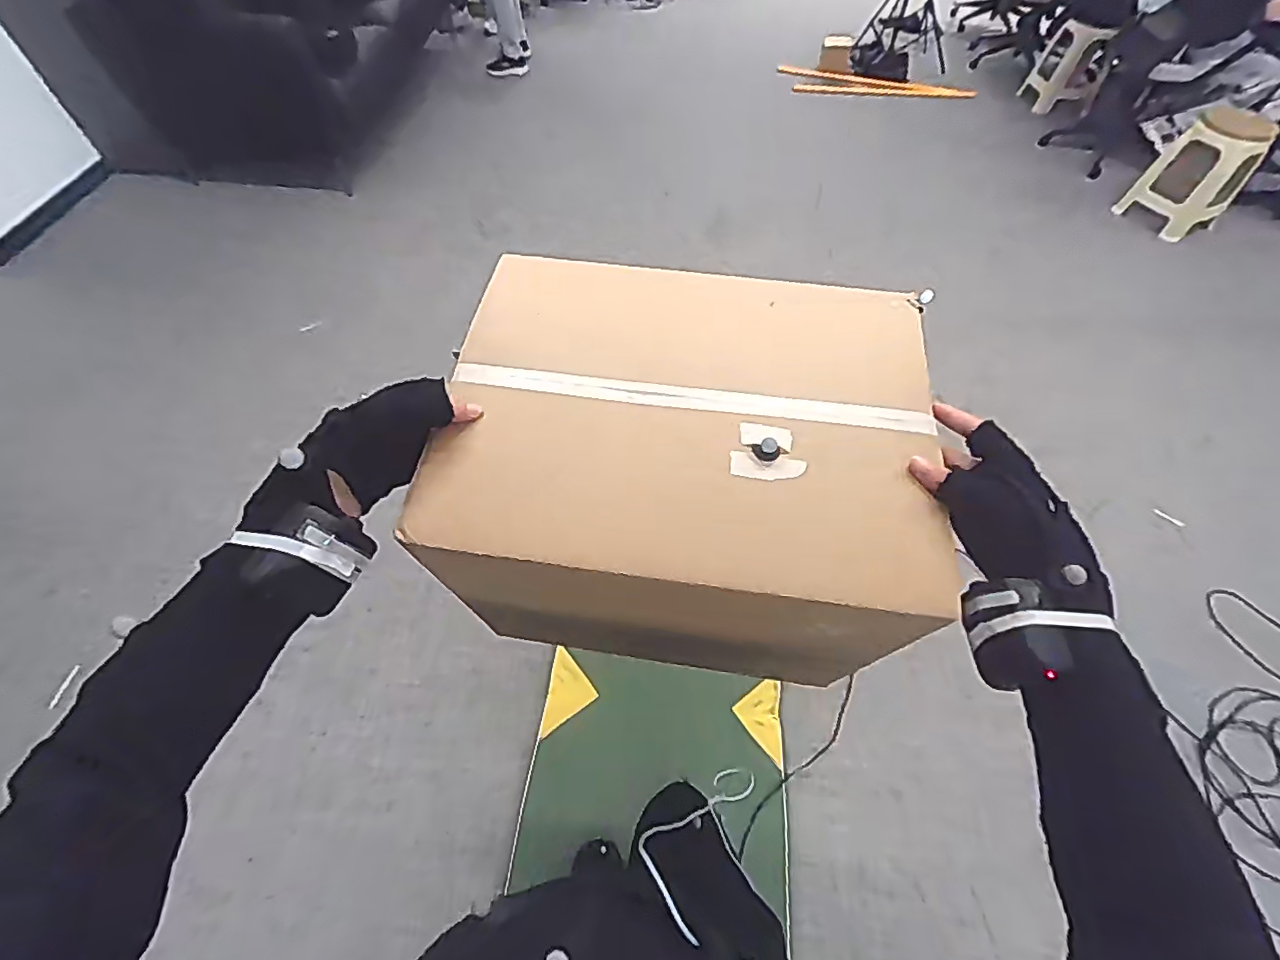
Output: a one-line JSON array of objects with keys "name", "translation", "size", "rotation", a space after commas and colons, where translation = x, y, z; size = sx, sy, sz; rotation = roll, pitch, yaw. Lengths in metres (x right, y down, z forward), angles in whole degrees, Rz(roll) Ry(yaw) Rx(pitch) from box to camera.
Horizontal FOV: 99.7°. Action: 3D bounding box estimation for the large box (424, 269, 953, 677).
[{"name": "large box", "translation": [0.046, 0.010, 0.599], "size": [0.408, 0.320, 0.320], "rotation": [8, 62, 3]}]
